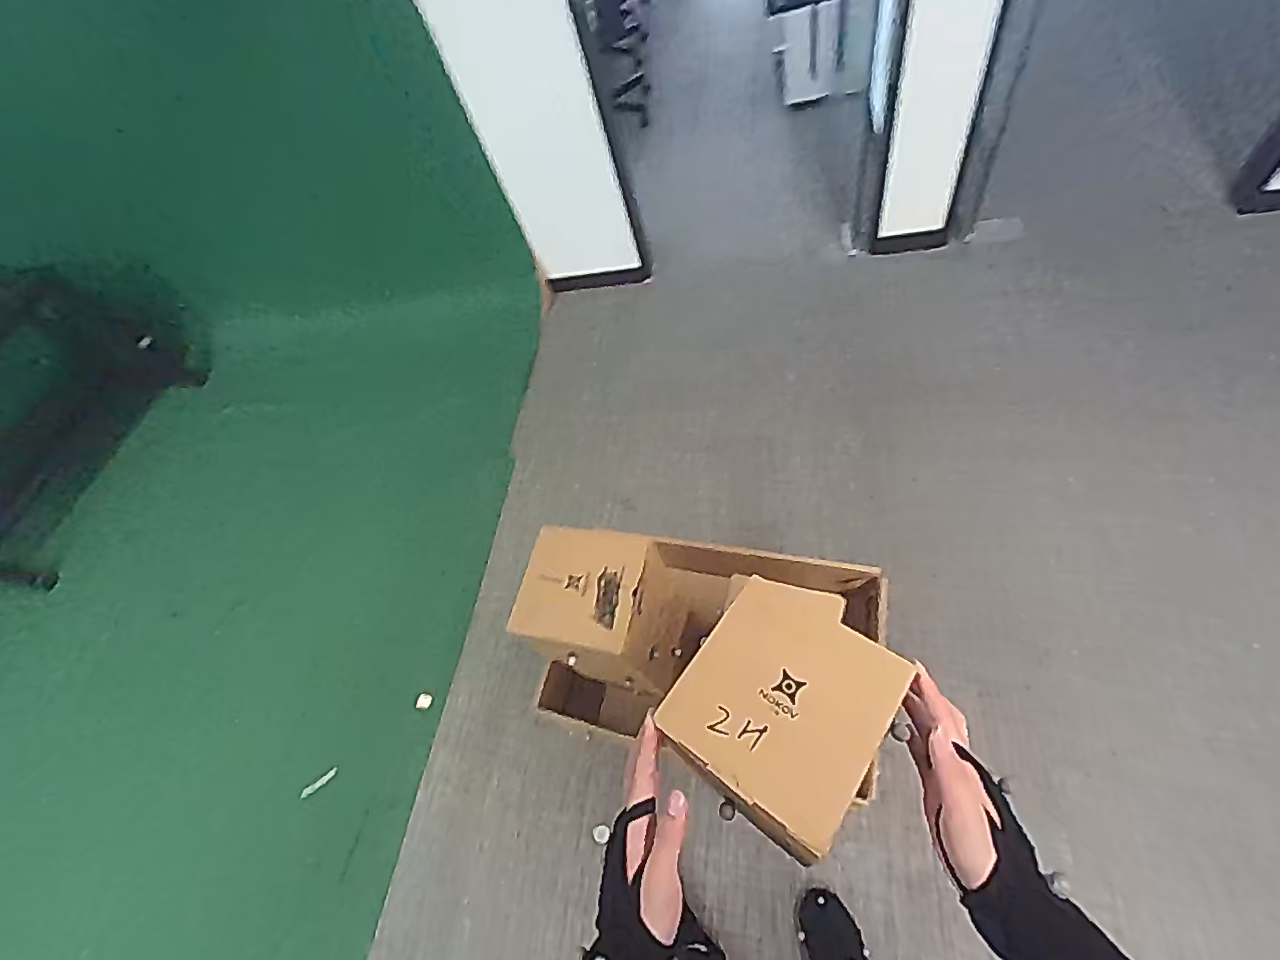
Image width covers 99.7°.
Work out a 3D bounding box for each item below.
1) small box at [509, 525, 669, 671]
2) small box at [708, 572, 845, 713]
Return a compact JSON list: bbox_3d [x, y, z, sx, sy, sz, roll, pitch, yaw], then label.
[{"bbox_3d":[-0.065,0.185,0.831,0.179,0.176,0.168,5,62,20],"label":"small box"},{"bbox_3d":[0.226,0.271,0.887,0.179,0.176,0.168,10,64,21],"label":"small box"}]
